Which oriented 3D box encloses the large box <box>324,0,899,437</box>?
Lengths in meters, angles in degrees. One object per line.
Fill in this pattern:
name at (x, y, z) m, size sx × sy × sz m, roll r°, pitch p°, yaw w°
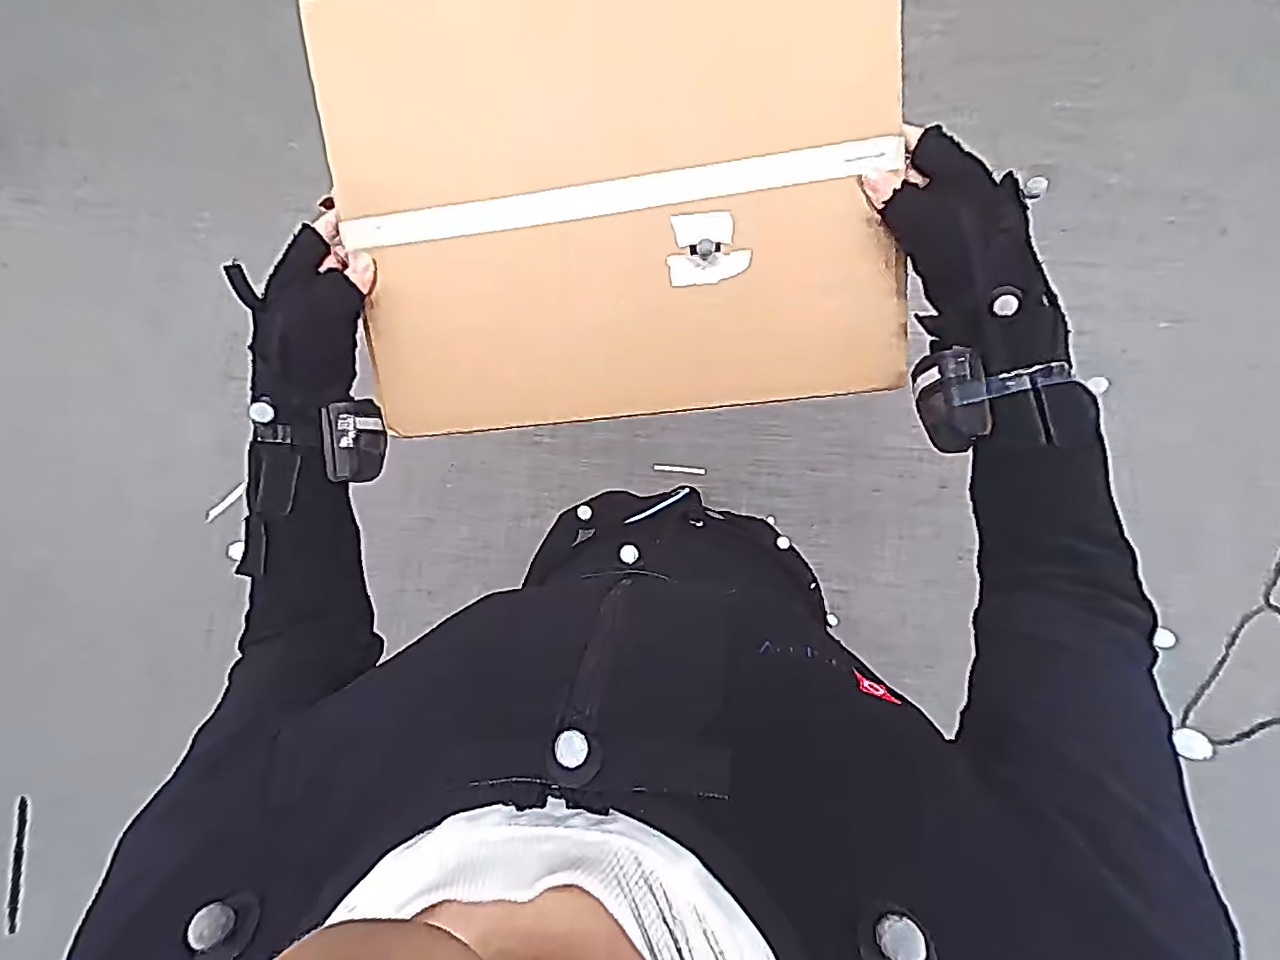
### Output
large box at (-0.009, -0.236, 0.548) m, size 0.408 × 0.320 × 0.320 m, roll -6°, pitch 102°, yaw 6°
